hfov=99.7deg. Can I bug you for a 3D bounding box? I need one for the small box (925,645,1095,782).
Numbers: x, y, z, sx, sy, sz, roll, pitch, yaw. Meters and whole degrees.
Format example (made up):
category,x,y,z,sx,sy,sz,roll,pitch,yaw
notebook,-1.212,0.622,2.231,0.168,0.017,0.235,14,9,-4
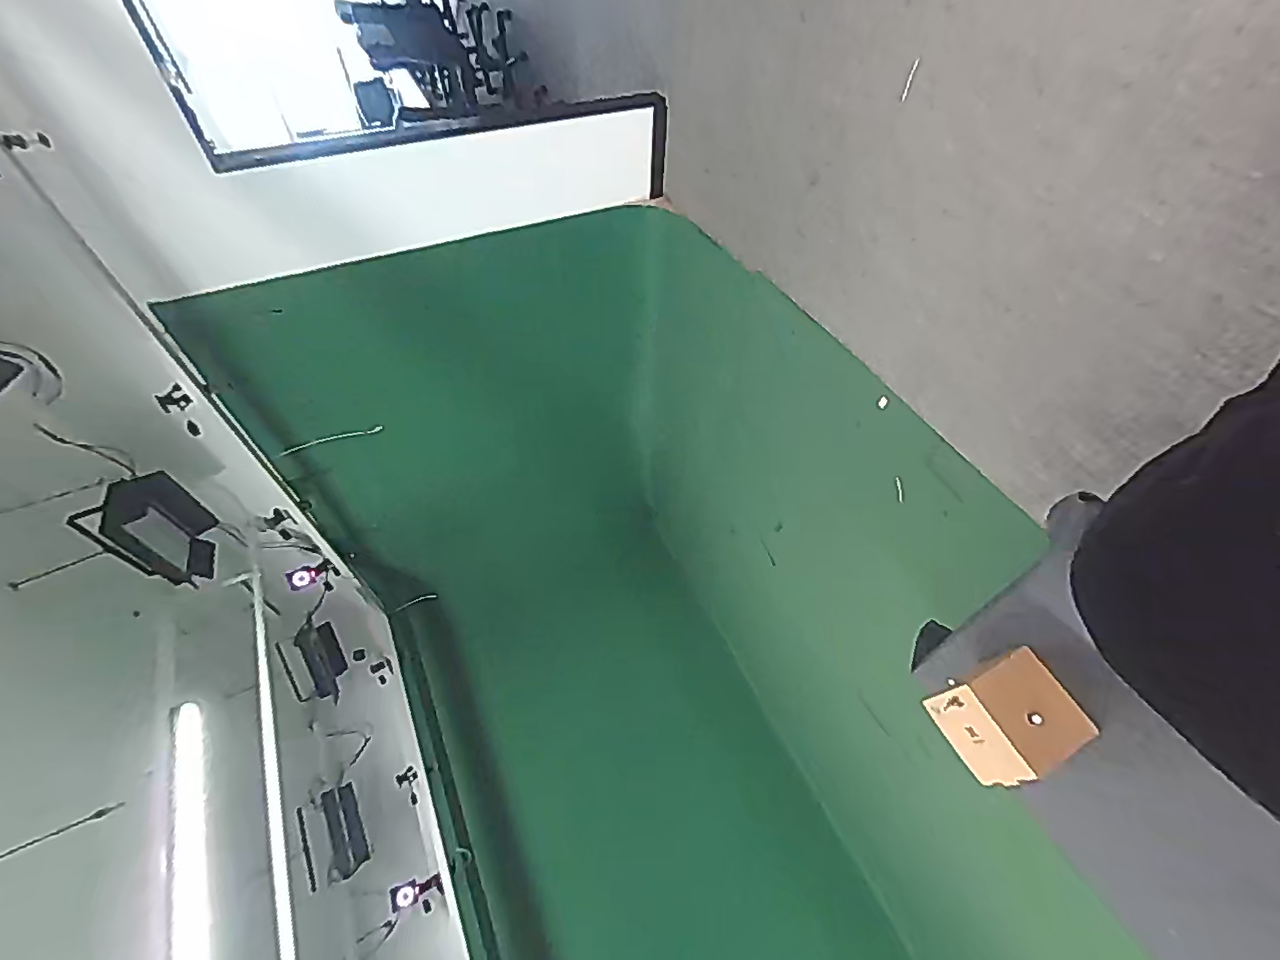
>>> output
category,x,y,z,sx,sy,sz,roll,pitch,yaw
small box,0.711,0.452,1.048,0.179,0.176,0.168,59,160,27
